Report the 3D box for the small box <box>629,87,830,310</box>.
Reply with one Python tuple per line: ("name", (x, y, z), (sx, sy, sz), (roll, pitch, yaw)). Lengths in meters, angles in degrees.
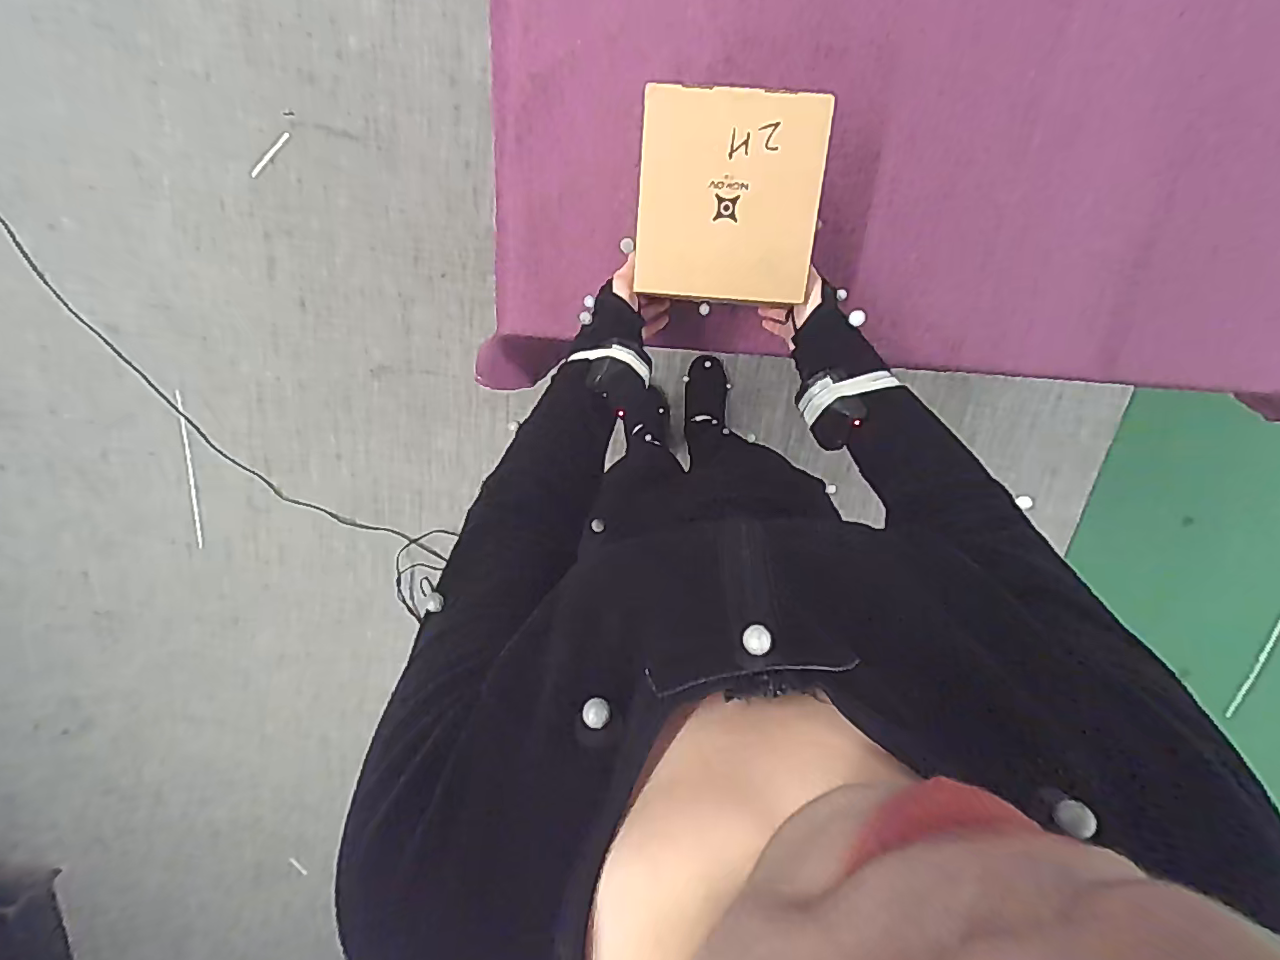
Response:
("small box", (0.082, -0.277, 0.571), (0.168, 0.176, 0.179), (5, 106, 1))
